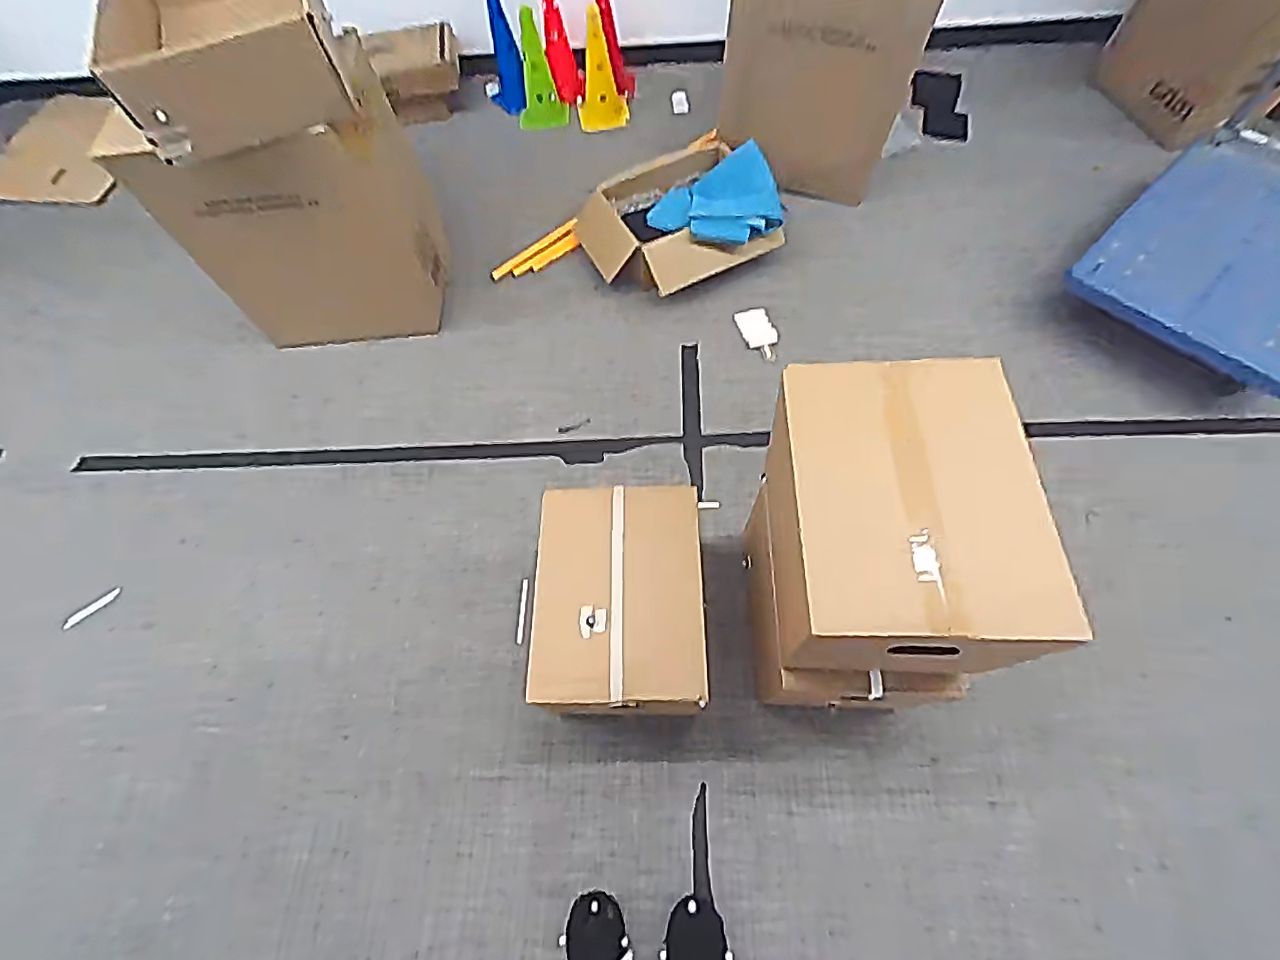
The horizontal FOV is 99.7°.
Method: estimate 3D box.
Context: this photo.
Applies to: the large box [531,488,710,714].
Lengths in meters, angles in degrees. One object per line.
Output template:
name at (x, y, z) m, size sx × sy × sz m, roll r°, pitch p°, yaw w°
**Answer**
large box at (-0.035, 0.264, 1.139) m, size 0.320 × 0.320 × 0.408 m, roll -2°, pitch 63°, yaw 2°
